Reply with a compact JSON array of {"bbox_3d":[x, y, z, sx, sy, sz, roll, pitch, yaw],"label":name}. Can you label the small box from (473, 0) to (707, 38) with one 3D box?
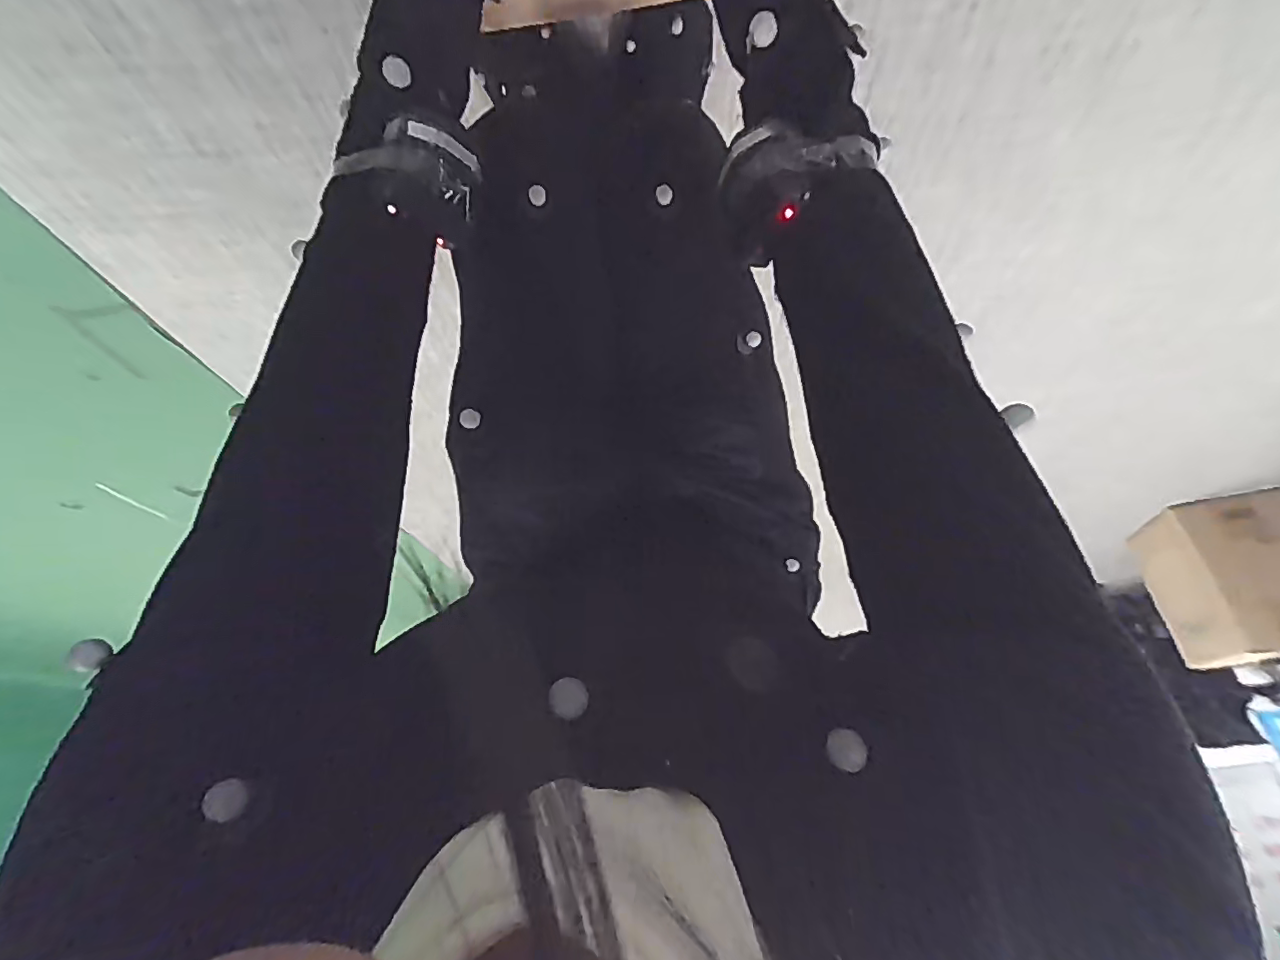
[{"bbox_3d":[-0.046,-0.449,0.368,0.179,0.176,0.168,-7,150,3],"label":"small box"}]
